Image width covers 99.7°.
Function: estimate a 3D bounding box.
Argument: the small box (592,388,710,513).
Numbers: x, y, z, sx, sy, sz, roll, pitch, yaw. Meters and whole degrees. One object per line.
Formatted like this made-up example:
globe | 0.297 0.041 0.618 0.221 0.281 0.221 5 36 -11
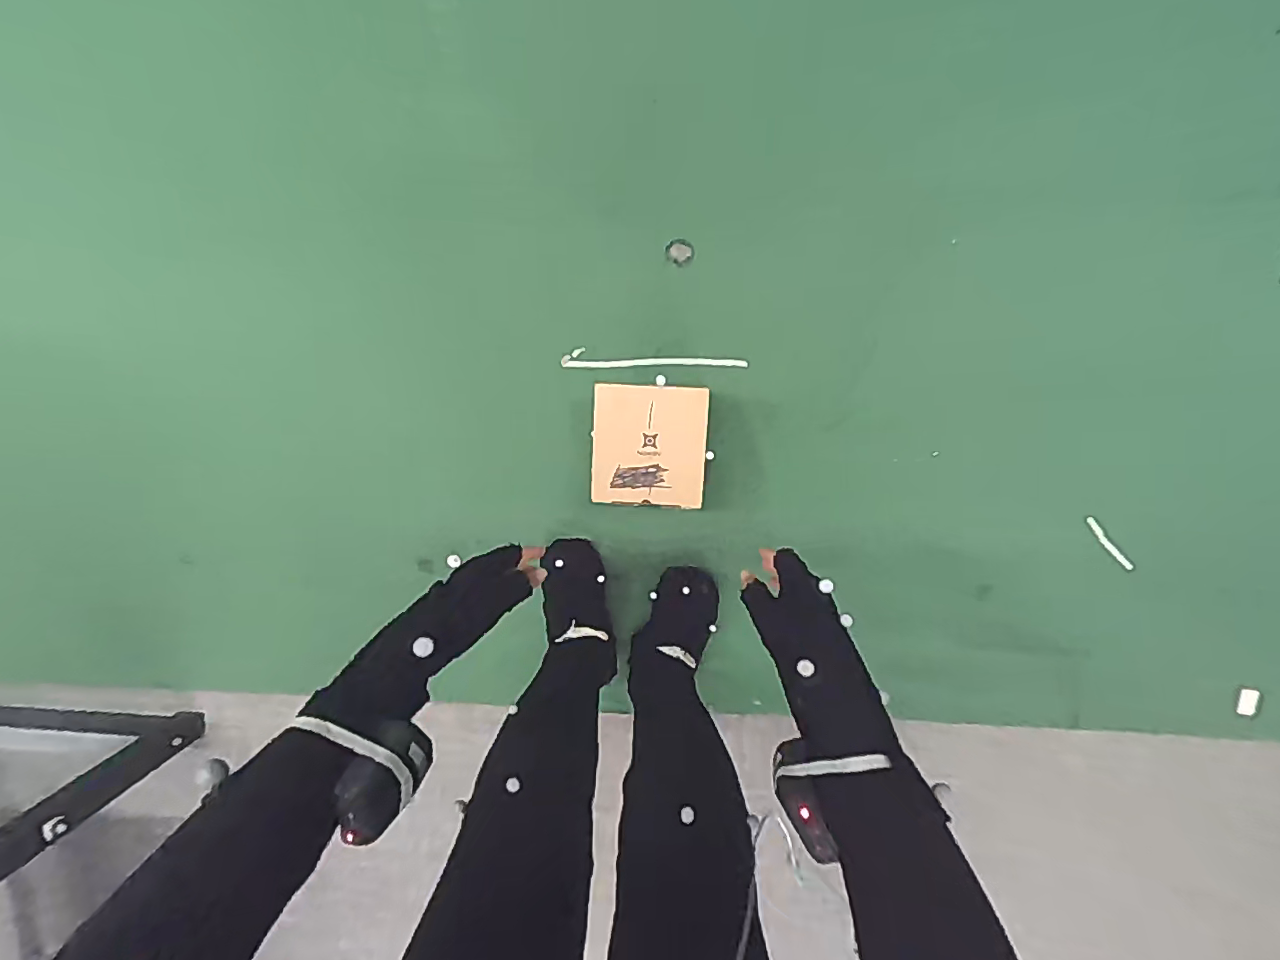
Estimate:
small box | 0.022 -0.054 0.862 0.168 0.176 0.179 3 99 4
